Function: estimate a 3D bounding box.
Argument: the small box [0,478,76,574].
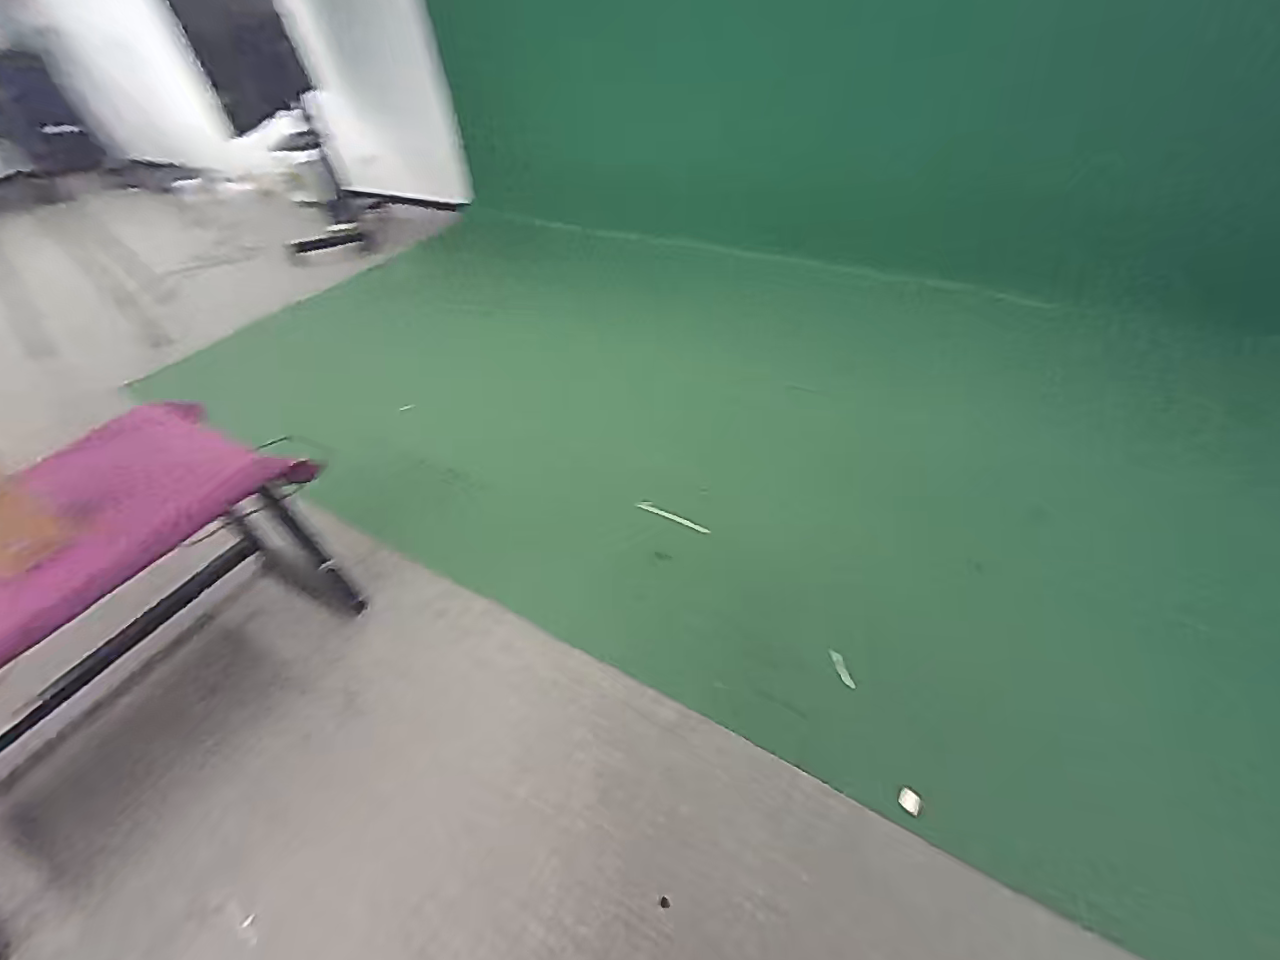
[{"bbox_3d":[-1.459,0.087,1.218,0.179,0.176,0.168,17,49,21],"label":"small box"}]
